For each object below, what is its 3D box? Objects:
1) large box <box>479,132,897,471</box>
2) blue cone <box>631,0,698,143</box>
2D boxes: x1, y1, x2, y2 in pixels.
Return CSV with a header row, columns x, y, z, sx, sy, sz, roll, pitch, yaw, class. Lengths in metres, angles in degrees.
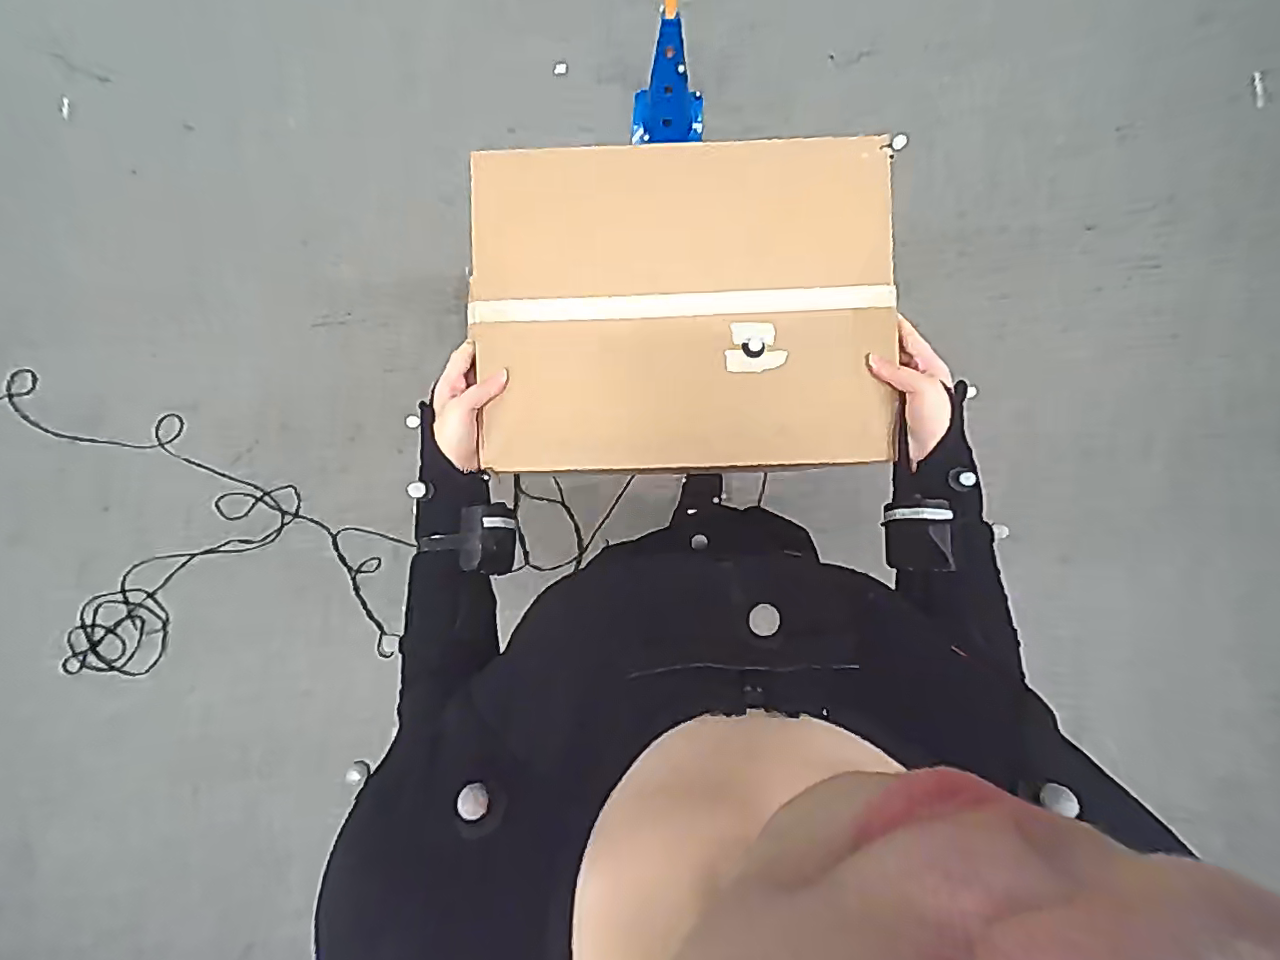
x,y,z,sx,sy,sz,roll,pitch,yaw,class
0.044,-0.178,0.674,0.408,0.320,0.320,-2,90,0,large box
0.067,-1.043,1.397,0.193,0.380,0.192,4,87,1,blue cone
